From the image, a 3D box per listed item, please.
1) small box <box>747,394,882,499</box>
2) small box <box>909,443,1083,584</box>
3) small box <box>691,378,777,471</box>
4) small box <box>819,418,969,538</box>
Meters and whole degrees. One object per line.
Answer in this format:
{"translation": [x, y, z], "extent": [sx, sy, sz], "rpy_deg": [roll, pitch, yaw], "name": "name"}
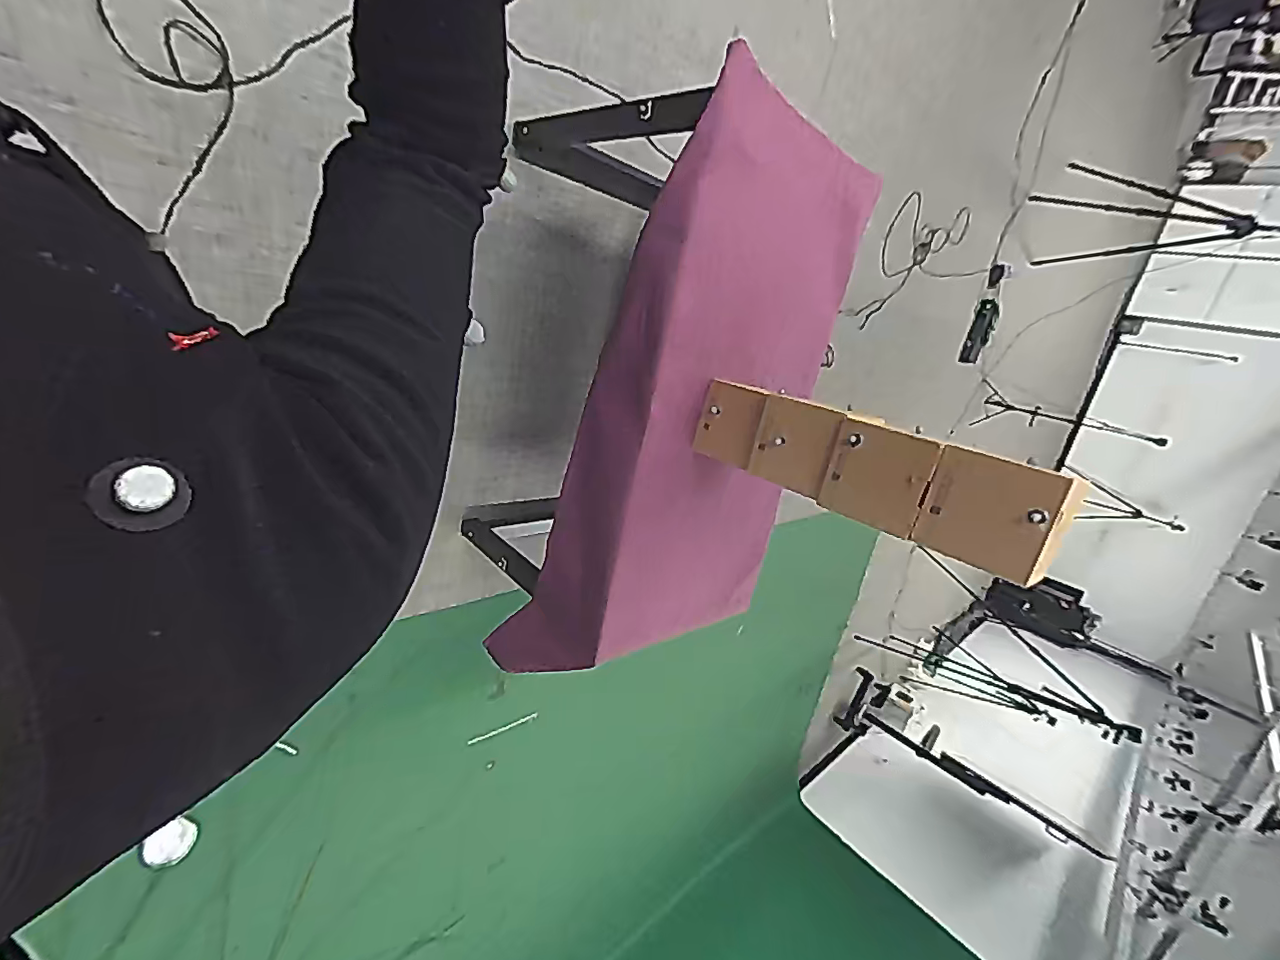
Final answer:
{"translation": [0.343, -0.069, 1.074], "extent": [0.179, 0.176, 0.168], "rpy_deg": [-1, 110, -45], "name": "small box"}
{"translation": [0.559, 0.045, 0.855], "extent": [0.179, 0.176, 0.168], "rpy_deg": [1, 108, -47], "name": "small box"}
{"translation": [0.244, -0.120, 1.194], "extent": [0.179, 0.176, 0.168], "rpy_deg": [1, 109, -45], "name": "small box"}
{"translation": [0.445, -0.009, 0.960], "extent": [0.179, 0.176, 0.168], "rpy_deg": [-1, 110, -46], "name": "small box"}
